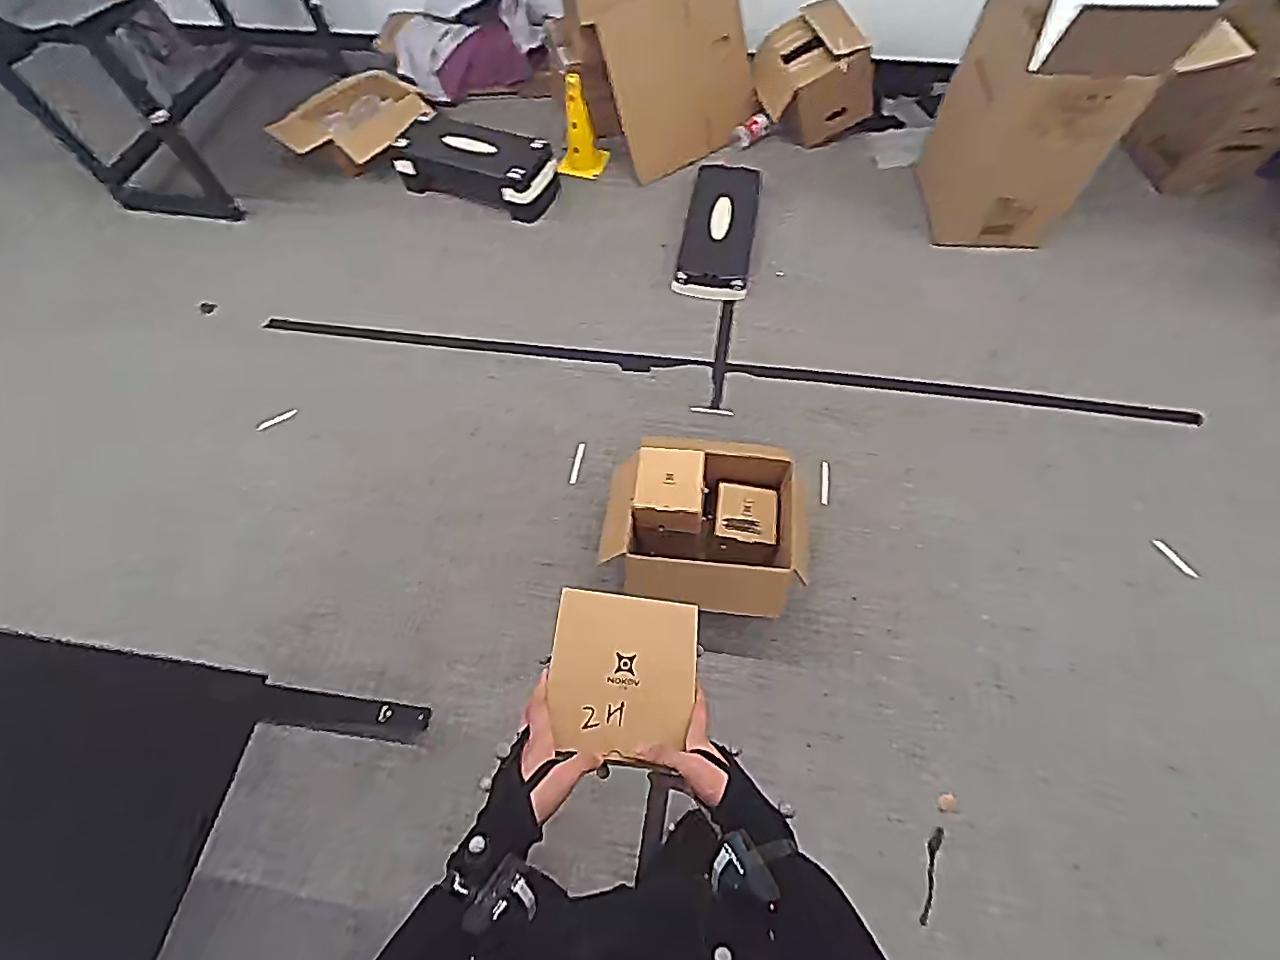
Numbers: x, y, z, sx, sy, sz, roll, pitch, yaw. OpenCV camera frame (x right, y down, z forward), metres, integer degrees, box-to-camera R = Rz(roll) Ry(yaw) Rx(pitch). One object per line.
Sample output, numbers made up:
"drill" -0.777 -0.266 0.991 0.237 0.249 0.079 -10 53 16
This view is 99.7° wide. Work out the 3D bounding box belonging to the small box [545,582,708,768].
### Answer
"small box" -0.020 0.244 0.663 0.168 0.176 0.179 9 61 -4
